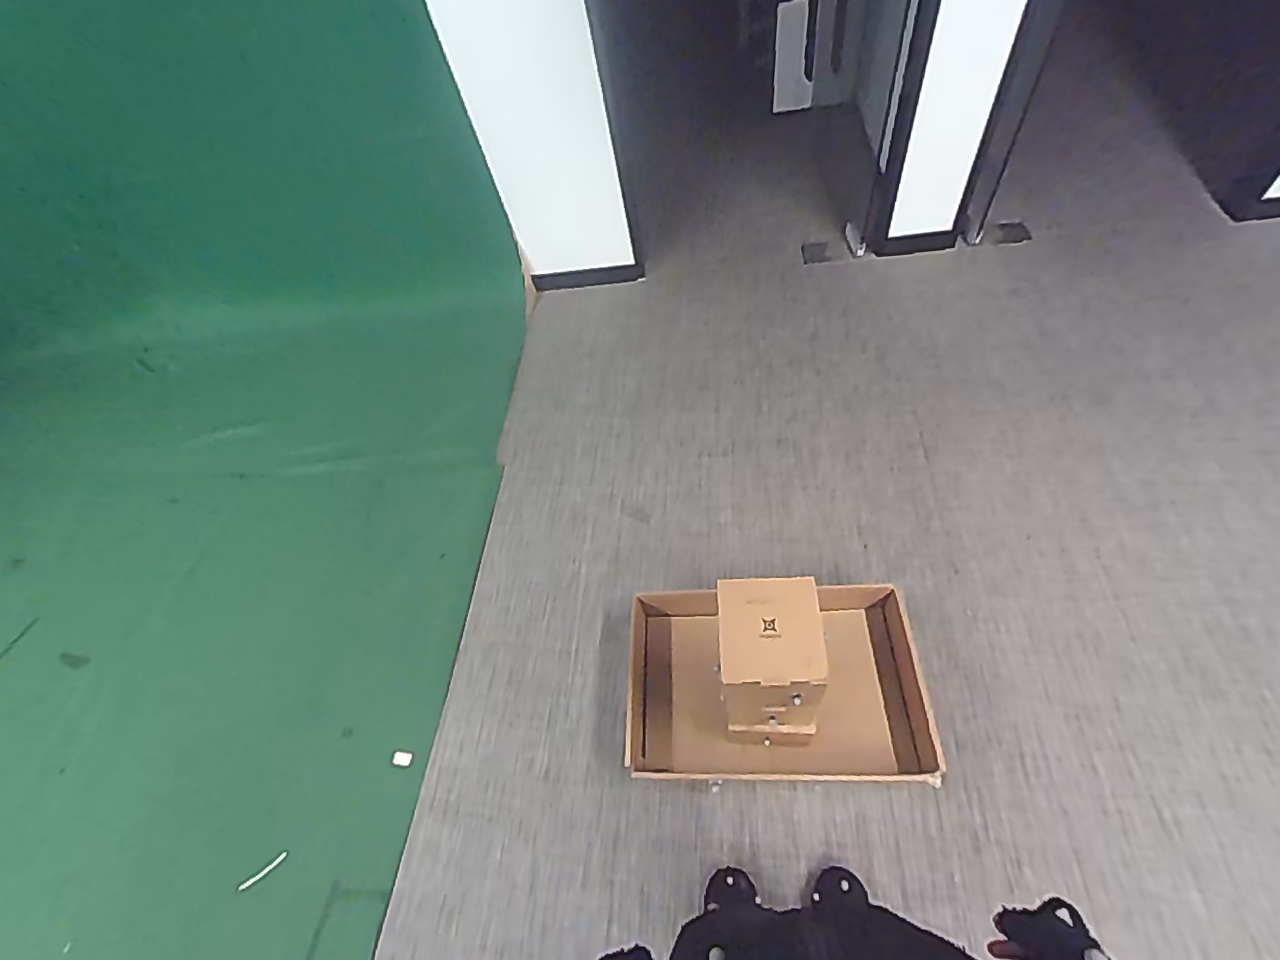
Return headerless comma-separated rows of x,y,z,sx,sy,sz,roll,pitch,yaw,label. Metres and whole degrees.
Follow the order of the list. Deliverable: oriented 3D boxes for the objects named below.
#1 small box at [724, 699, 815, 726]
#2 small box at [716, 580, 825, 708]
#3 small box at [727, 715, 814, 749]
0.252,0.392,1.091,0.168,0.176,0.179,-6,54,9,small box
0.221,0.290,0.944,0.168,0.176,0.179,-3,54,9,small box
0.286,0.495,1.210,0.179,0.176,0.168,-2,54,12,small box
